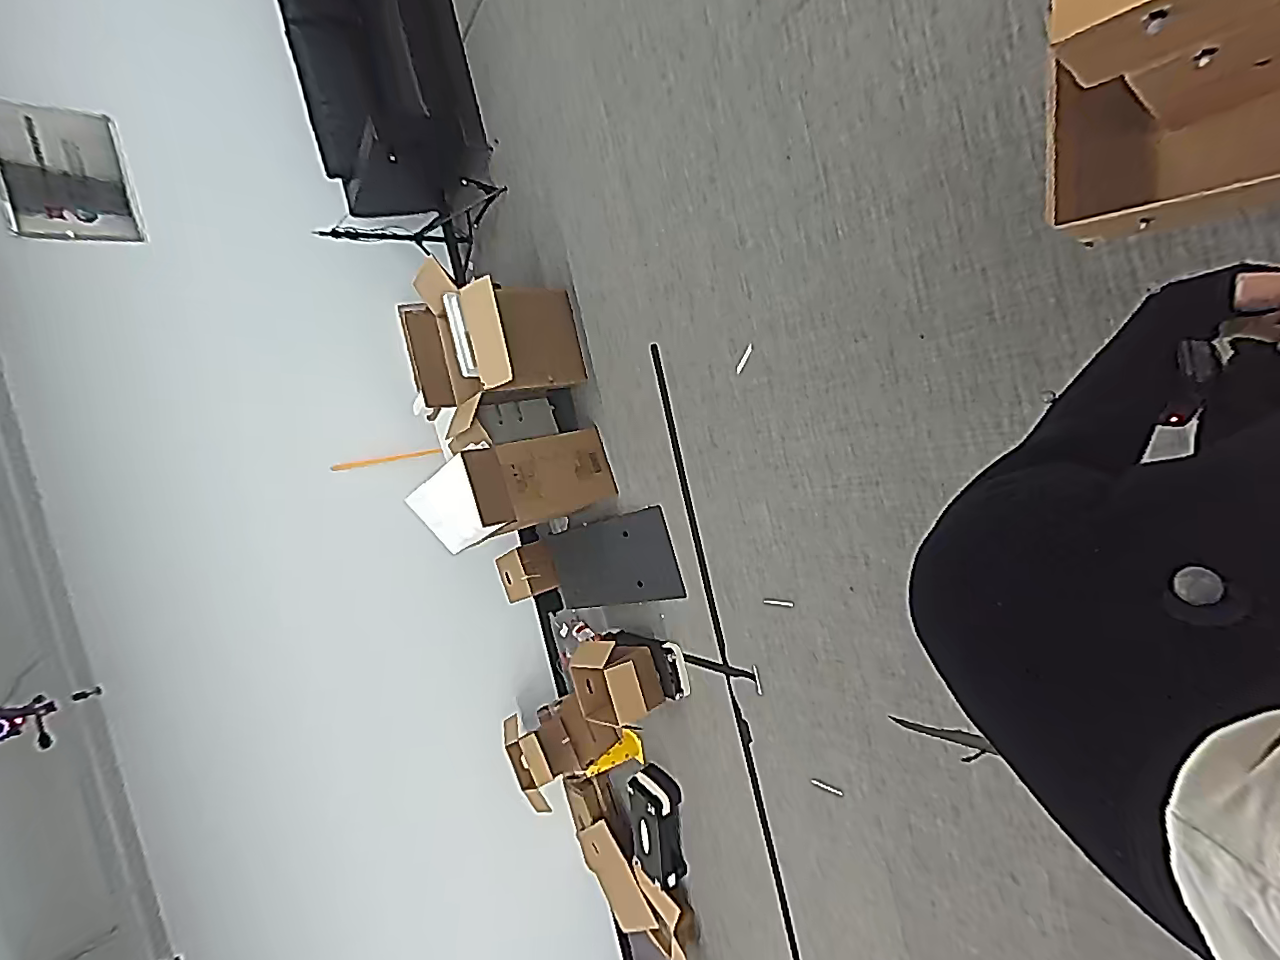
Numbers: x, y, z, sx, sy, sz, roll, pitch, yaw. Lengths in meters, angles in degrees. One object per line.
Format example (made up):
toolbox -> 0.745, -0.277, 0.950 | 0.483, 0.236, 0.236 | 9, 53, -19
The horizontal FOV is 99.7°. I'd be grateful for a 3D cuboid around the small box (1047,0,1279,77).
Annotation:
small box -> 0.532, -0.543, 0.532 | 0.179, 0.176, 0.168 | 6, 106, 51
